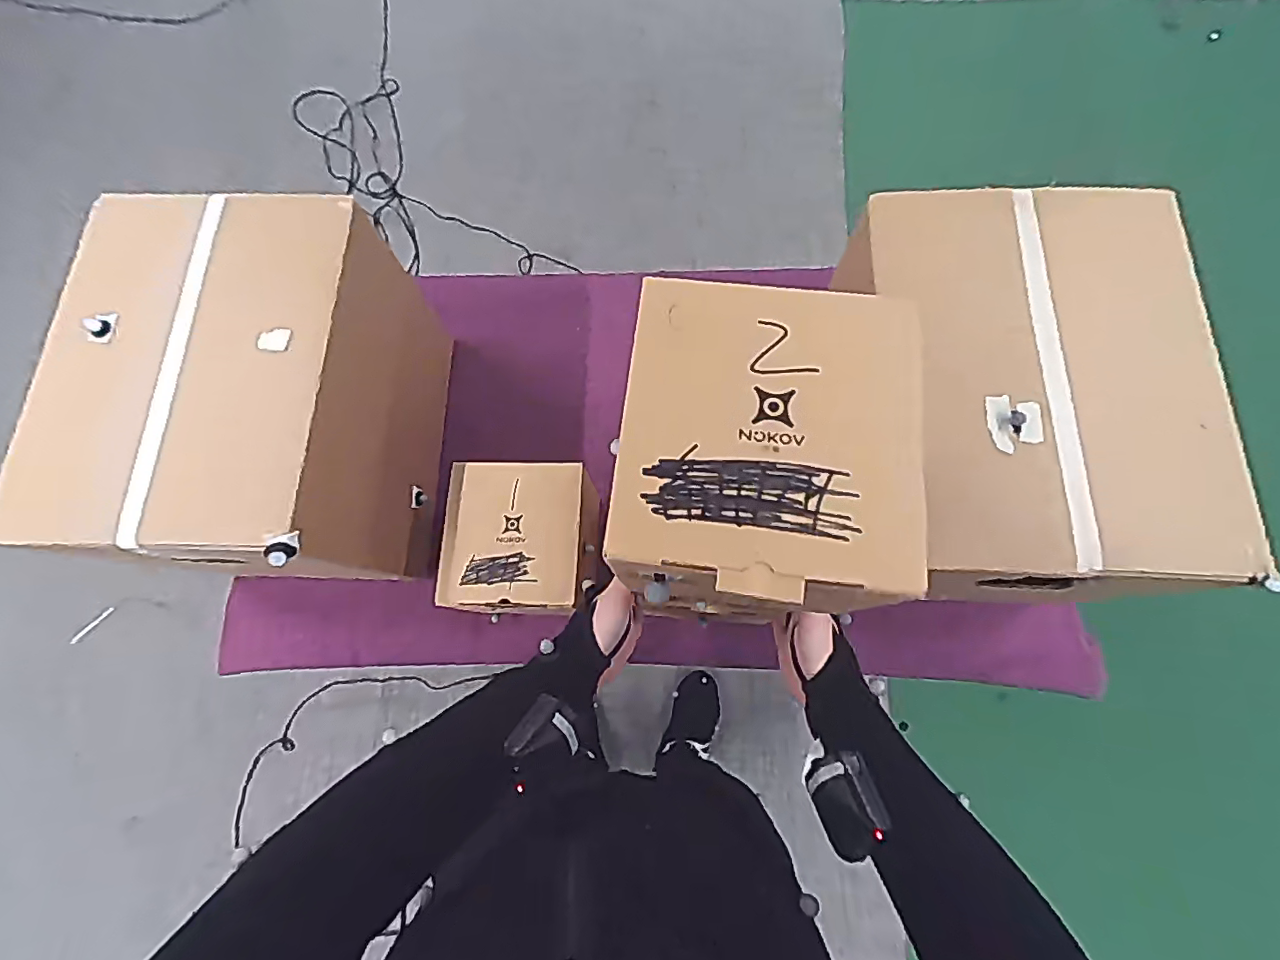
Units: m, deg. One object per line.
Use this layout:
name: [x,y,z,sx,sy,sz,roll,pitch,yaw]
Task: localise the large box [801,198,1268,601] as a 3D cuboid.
large box: [0.398,-0.067,0.665,0.320,0.320,0.408,1,75,4]
